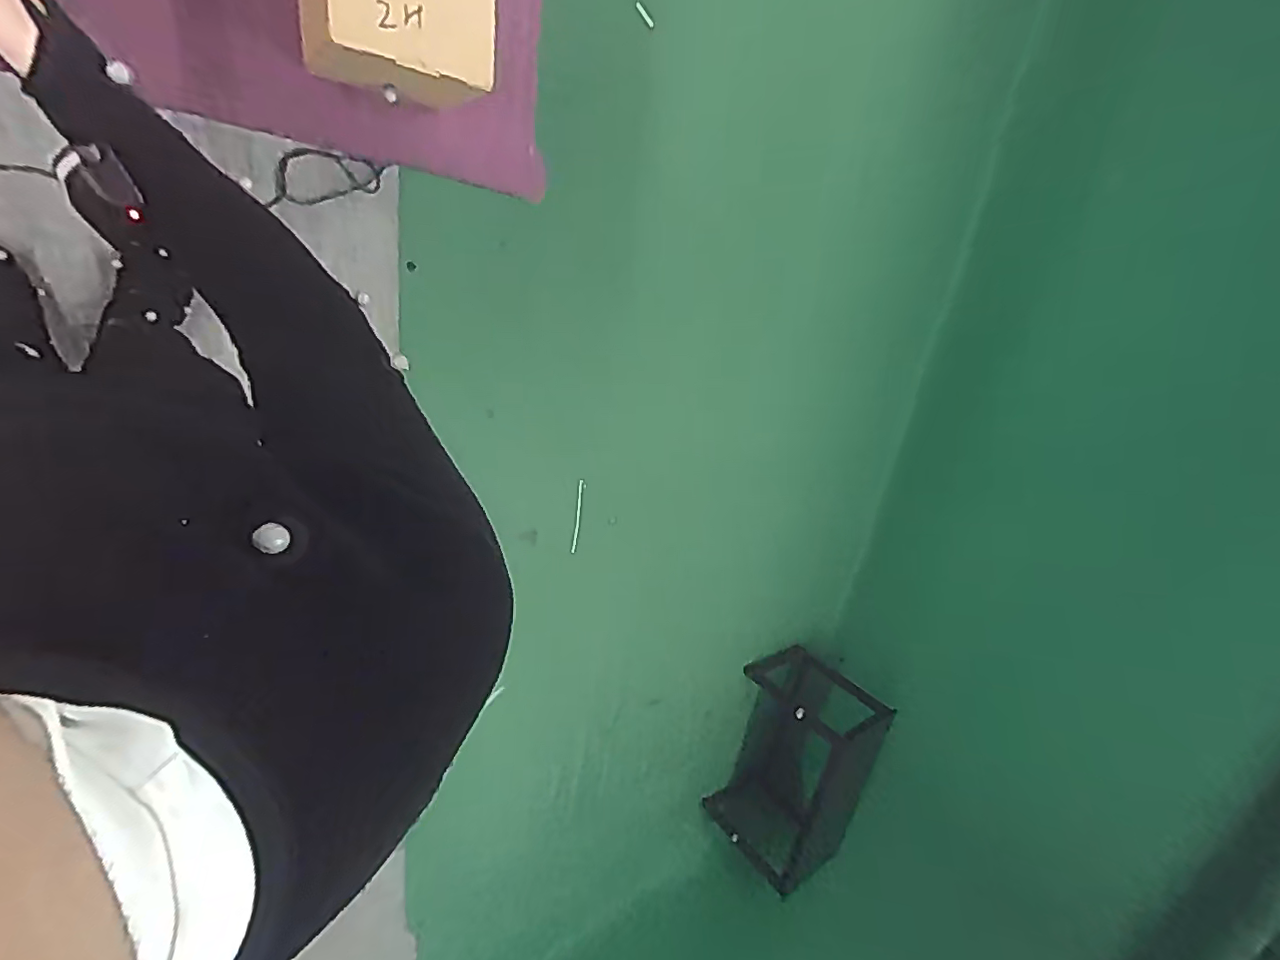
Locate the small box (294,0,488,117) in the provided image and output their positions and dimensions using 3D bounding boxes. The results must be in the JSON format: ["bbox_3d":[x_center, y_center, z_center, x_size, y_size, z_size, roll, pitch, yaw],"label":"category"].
[{"bbox_3d":[-0.282,-0.535,0.605,0.168,0.176,0.179,-9,118,-37],"label":"small box"}]
